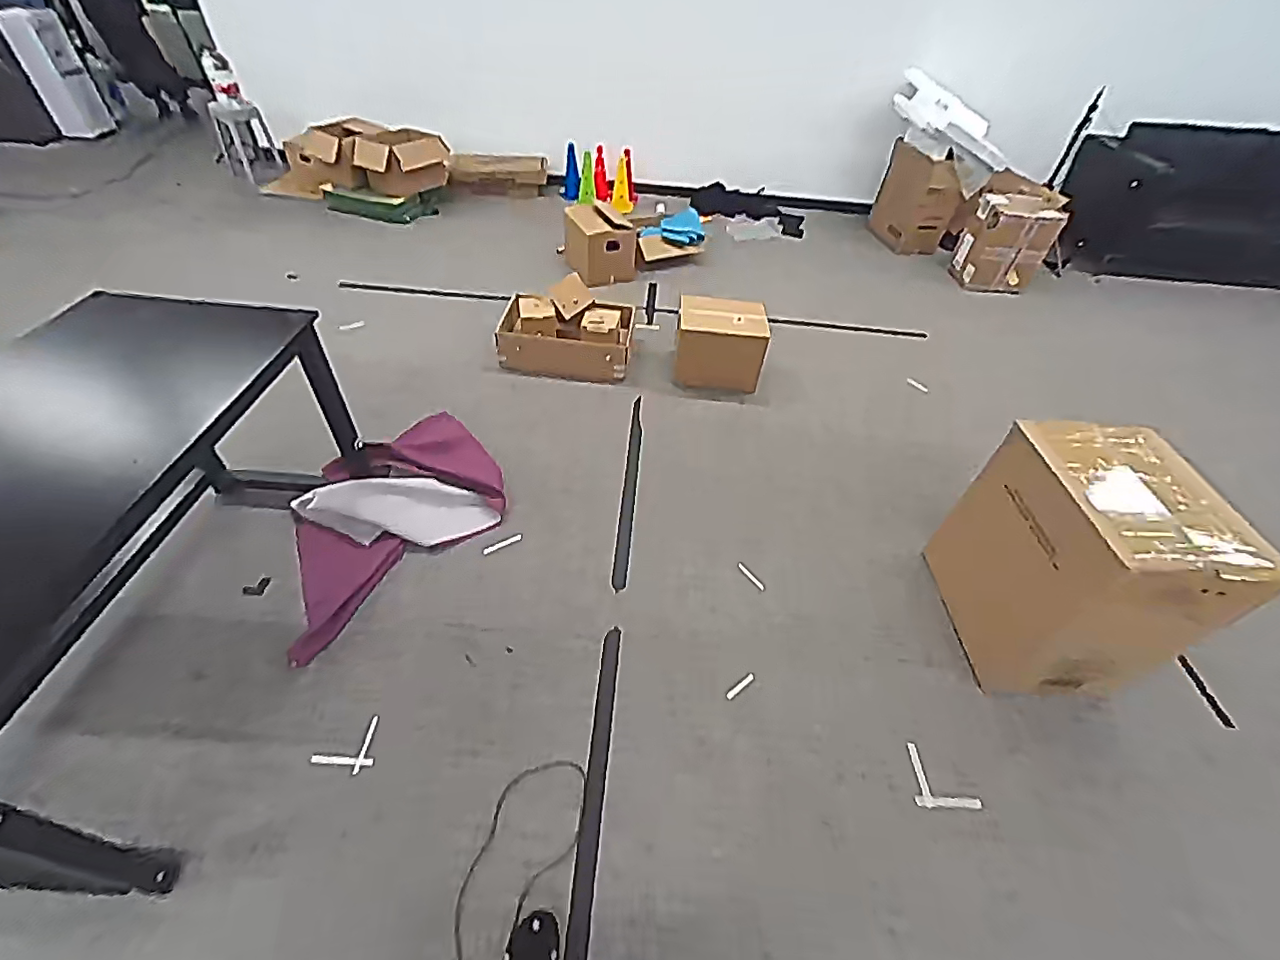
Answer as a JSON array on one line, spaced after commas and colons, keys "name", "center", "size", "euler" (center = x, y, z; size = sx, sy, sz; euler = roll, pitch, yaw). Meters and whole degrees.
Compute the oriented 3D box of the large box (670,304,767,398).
[{"name": "large box", "center": [0.361, -0.620, 2.607], "size": [0.408, 0.320, 0.320], "euler": [5, 45, -2]}]
